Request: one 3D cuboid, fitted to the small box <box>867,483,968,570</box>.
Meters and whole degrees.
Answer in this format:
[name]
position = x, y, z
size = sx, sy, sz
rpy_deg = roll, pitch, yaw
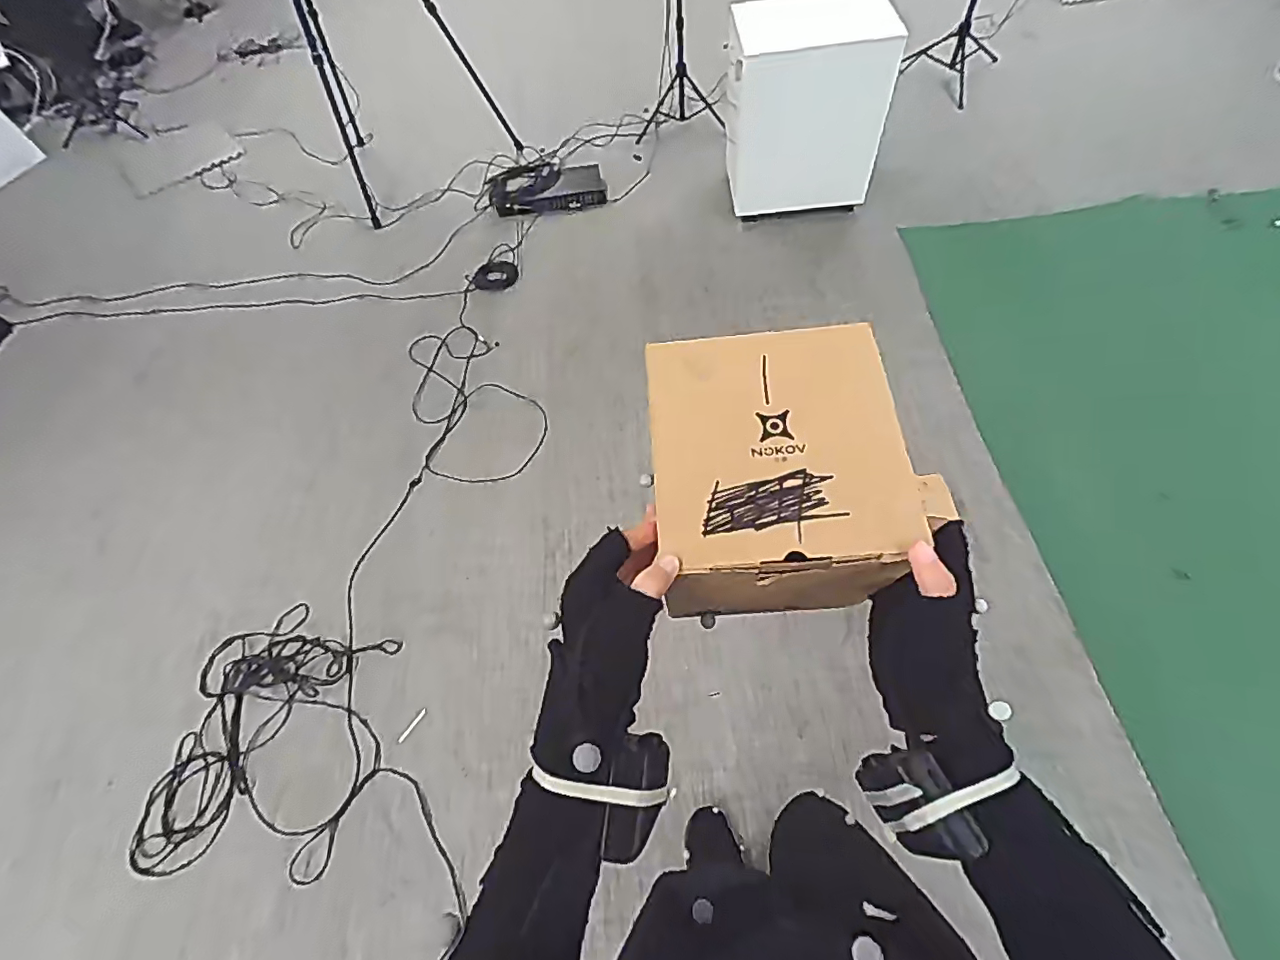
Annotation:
[small box]
position = 0.717, 0.129, 1.416
size = 0.168, 0.176, 0.179
rpy_deg = -5, 58, 3
